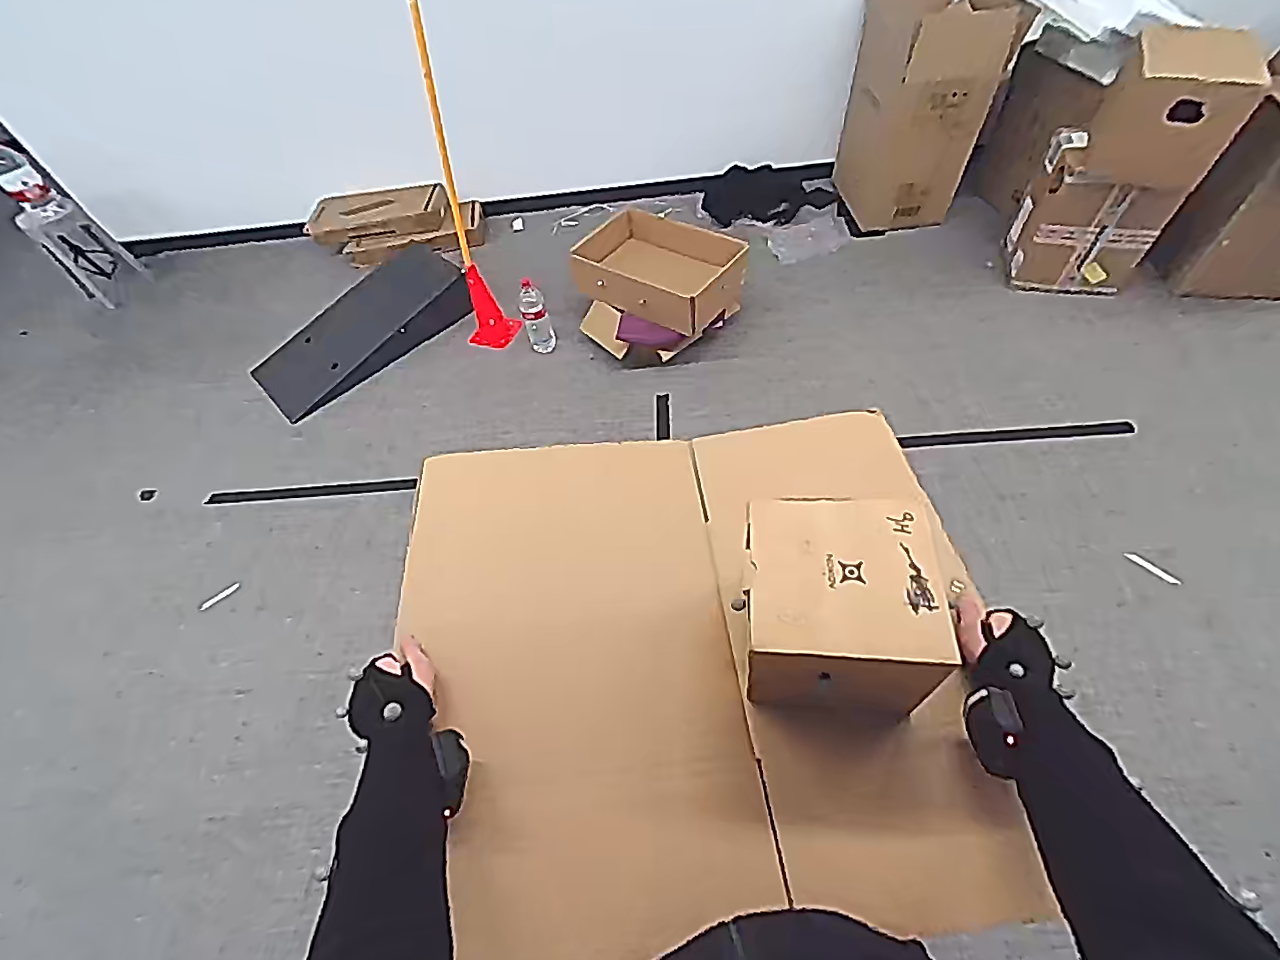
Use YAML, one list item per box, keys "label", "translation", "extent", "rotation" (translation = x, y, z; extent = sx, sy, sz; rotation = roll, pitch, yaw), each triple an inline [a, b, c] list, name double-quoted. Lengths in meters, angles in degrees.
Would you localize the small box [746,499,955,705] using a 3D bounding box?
- label: "small box"
  translation: [0.207, 0.134, 0.583]
  extent: [0.179, 0.176, 0.168]
  rotation: [0, 55, 12]
